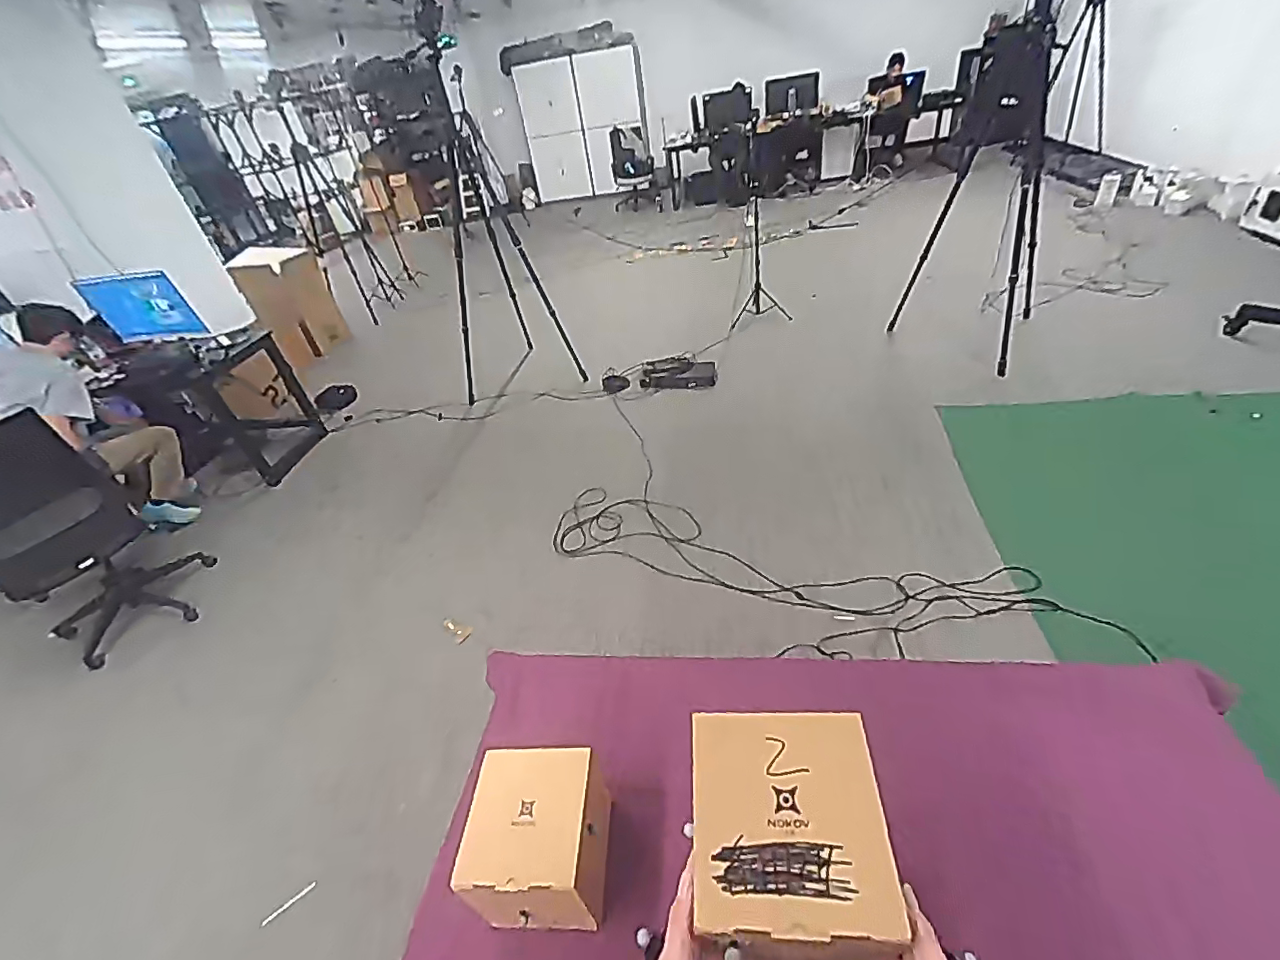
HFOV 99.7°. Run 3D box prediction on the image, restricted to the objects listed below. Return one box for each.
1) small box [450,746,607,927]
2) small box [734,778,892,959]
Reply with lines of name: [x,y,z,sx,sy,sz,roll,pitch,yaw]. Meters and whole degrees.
small box: [-0.146,0.514,0.786,0.168,0.176,0.179,-5,38,7]
small box: [0.207,0.513,0.694,0.168,0.176,0.179,-4,38,10]
